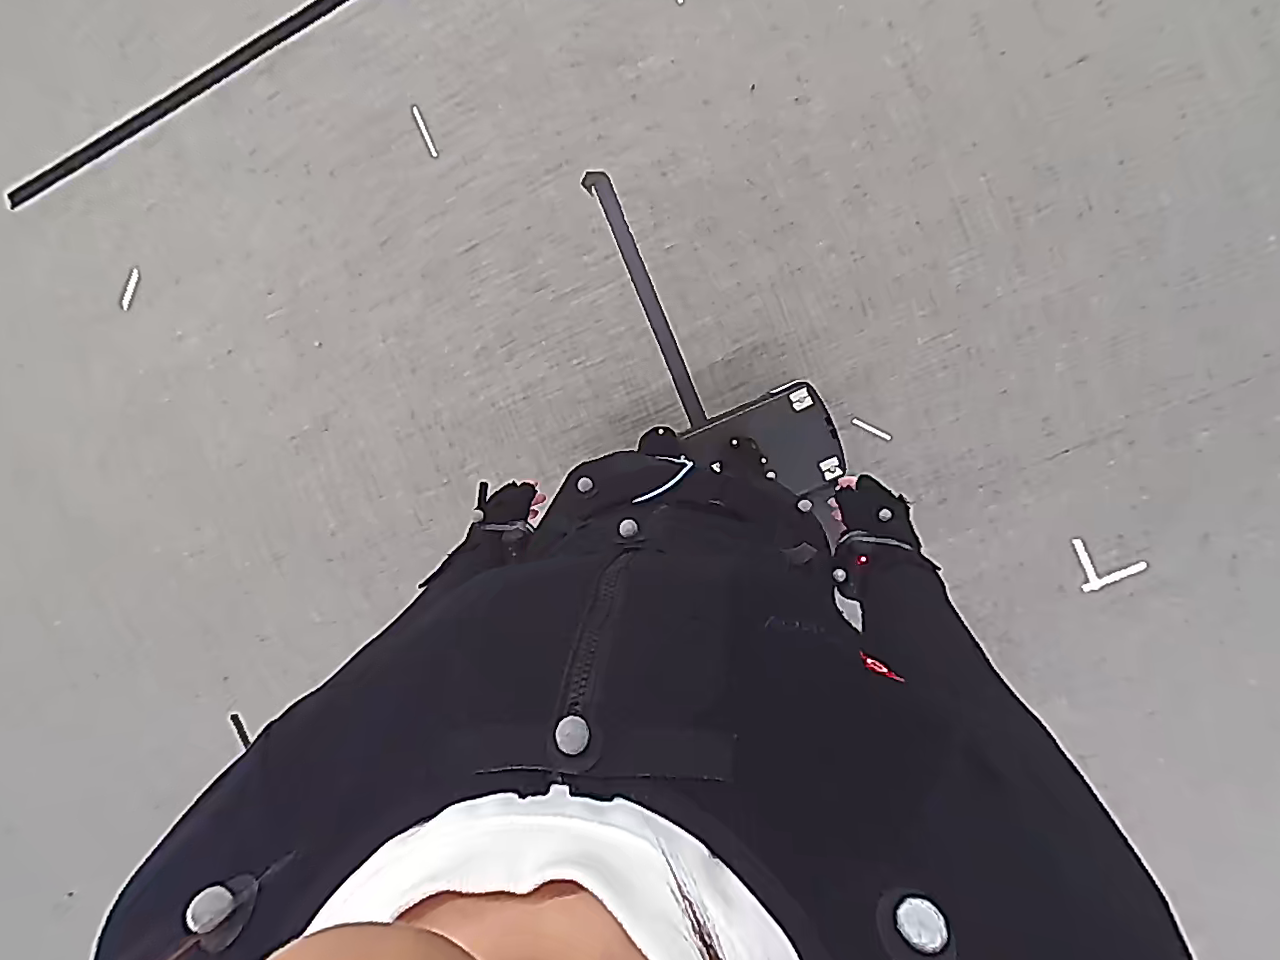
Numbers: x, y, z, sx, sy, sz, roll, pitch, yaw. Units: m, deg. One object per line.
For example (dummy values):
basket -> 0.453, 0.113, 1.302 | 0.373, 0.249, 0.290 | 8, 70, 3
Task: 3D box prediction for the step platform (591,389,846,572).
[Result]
step platform -> 0.208, 0.002, 1.517 | 0.684, 0.204, 0.286 | -24, 94, 7
